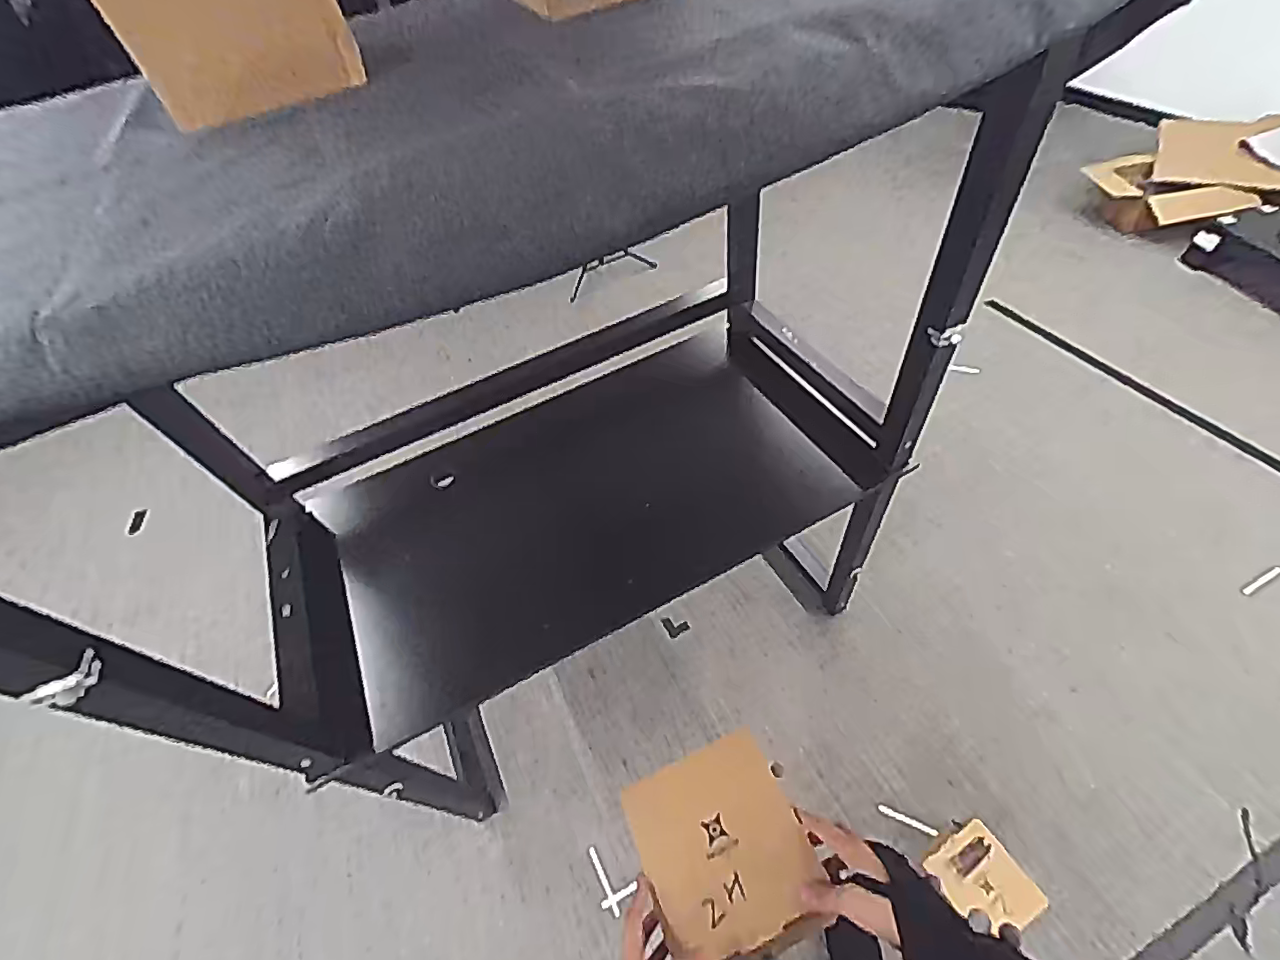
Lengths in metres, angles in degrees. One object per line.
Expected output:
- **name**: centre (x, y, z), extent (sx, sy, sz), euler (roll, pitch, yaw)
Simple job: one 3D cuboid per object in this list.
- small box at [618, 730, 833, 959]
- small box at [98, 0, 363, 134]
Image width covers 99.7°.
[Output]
- **small box**: centre (0.092, 0.423, 0.603), extent (0.168, 0.176, 0.179), euler (-23, 44, -7)
- **small box**: centre (-0.379, -0.459, 0.502), extent (0.179, 0.176, 0.168), euler (-22, 53, -8)
